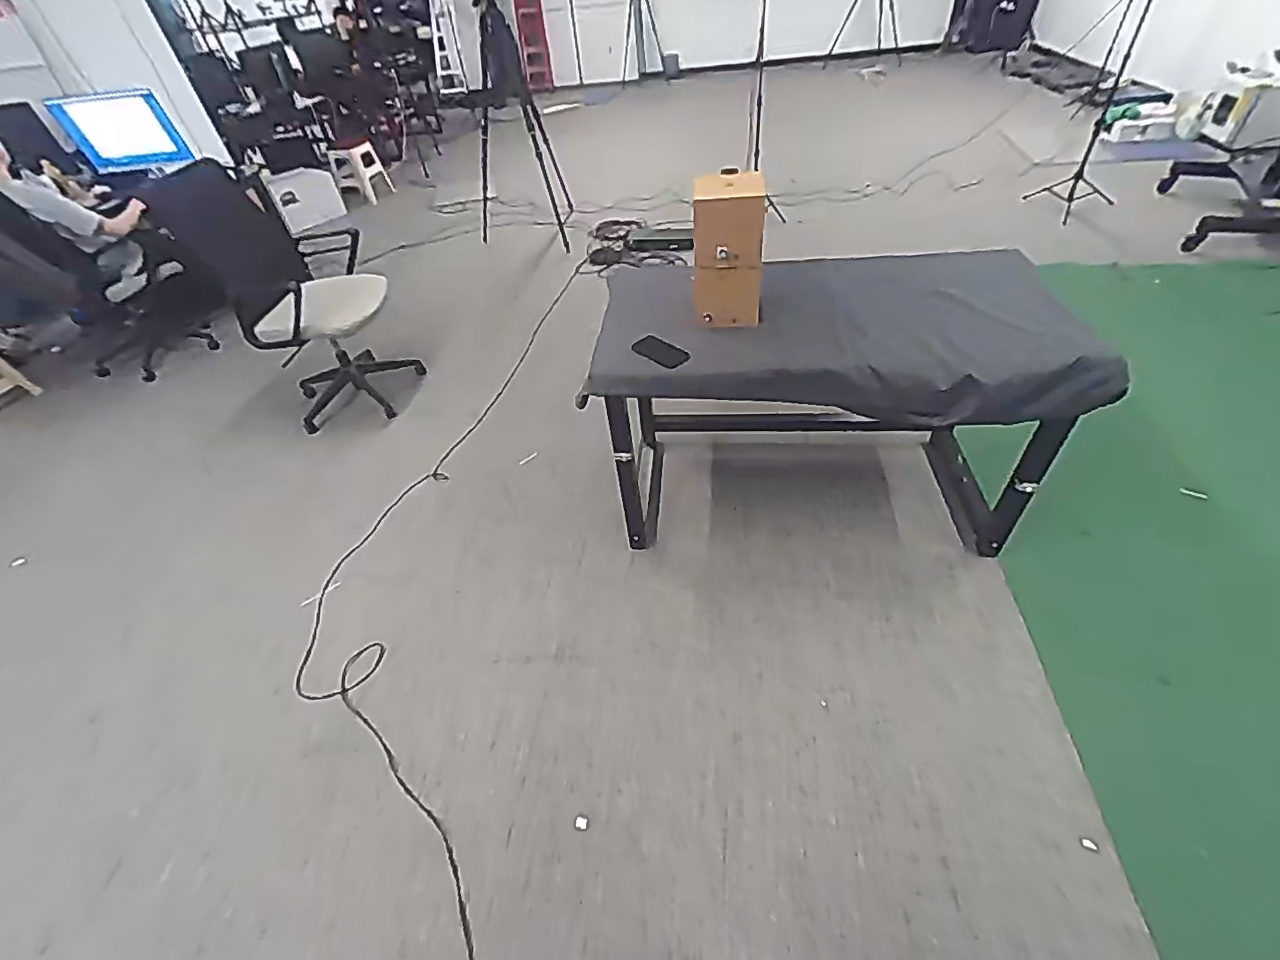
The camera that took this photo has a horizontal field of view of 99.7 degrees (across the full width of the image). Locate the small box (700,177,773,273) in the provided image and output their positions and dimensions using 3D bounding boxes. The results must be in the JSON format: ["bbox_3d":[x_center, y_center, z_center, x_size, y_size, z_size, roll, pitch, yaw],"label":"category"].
[{"bbox_3d":[0.236,-0.629,1.338,0.168,0.176,0.179,1,45,9],"label":"small box"}]

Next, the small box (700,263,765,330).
[{"bbox_3d":[0.251,-0.517,1.454,0.168,0.176,0.179,2,44,10],"label":"small box"}]
